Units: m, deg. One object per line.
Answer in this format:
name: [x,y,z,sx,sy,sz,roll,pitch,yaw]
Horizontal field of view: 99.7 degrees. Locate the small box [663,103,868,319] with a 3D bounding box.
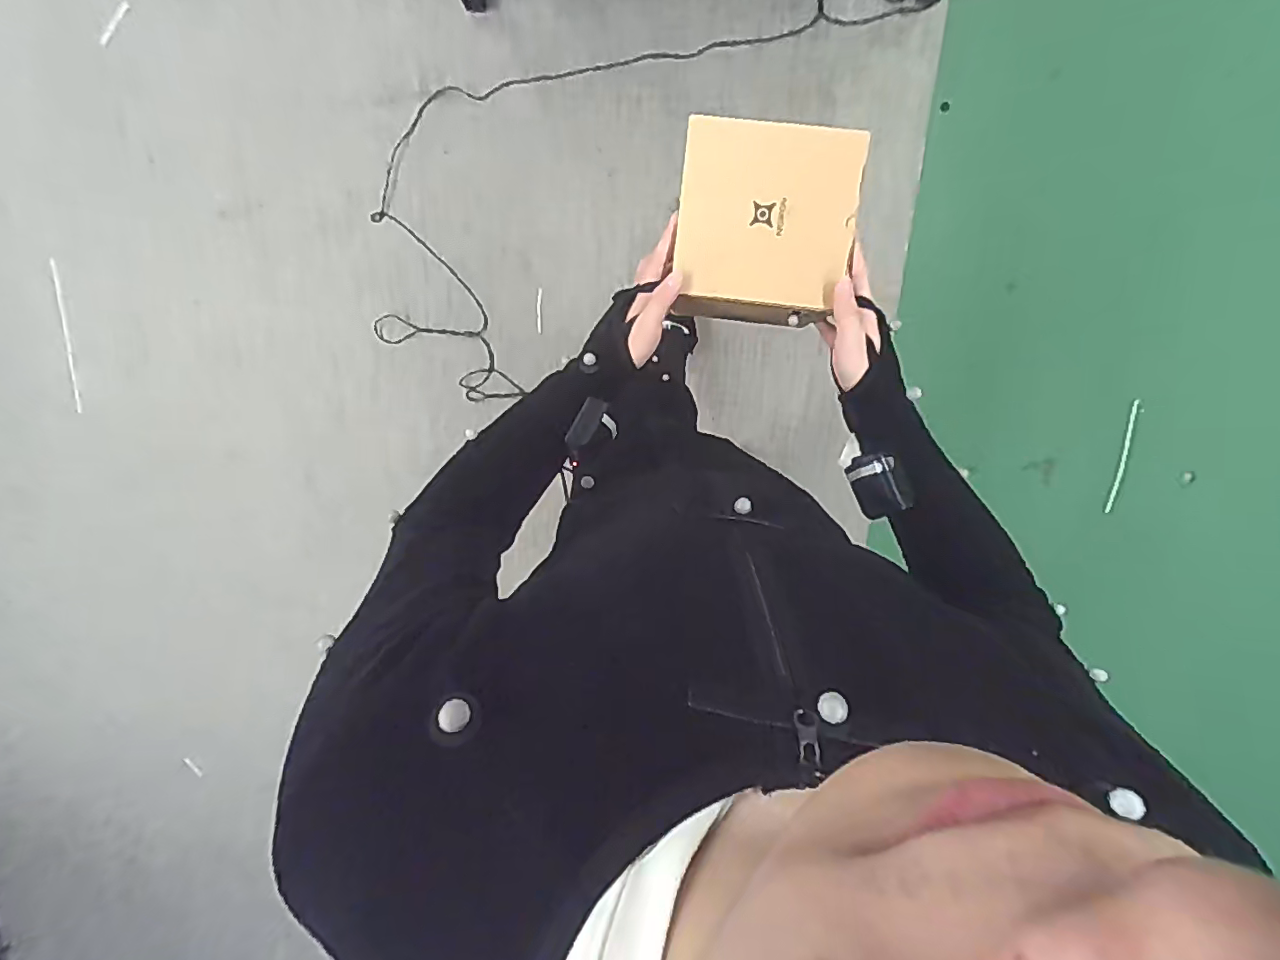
small box: [0.121,-0.279,0.600,0.179,0.176,0.168,7,100,0]
